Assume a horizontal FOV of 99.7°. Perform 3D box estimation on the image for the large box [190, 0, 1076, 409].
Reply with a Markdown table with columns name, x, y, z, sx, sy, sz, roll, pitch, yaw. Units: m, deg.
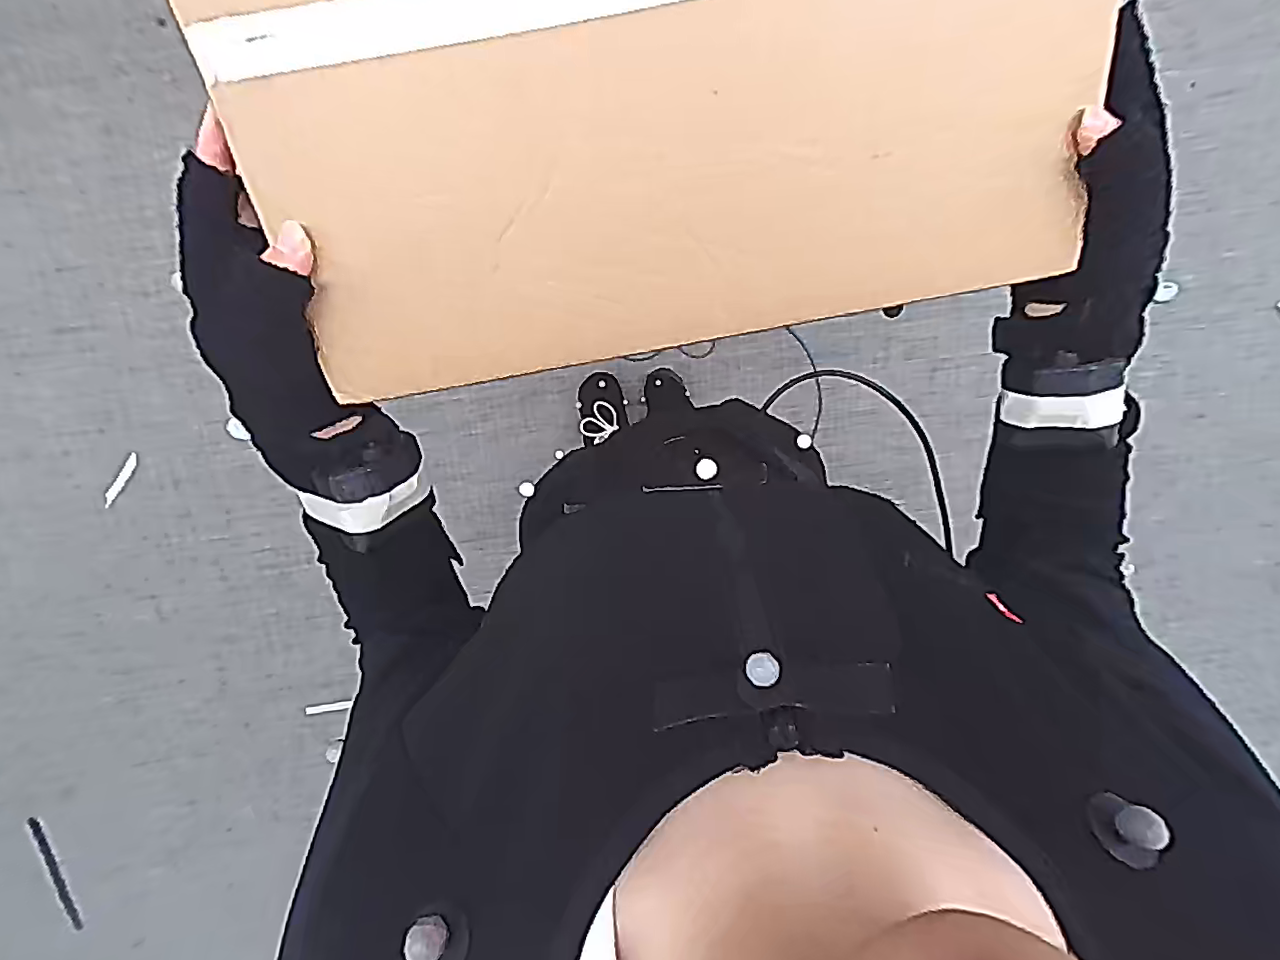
| name | x | y | z | sx | sy | sz | roll | pitch | yaw |
| --- | --- | --- | --- | --- | --- | --- | --- | --- | --- |
| large box | -0.003 | -0.274 | 0.379 | 0.408 | 0.320 | 0.320 | -11 | 113 | 0 |
